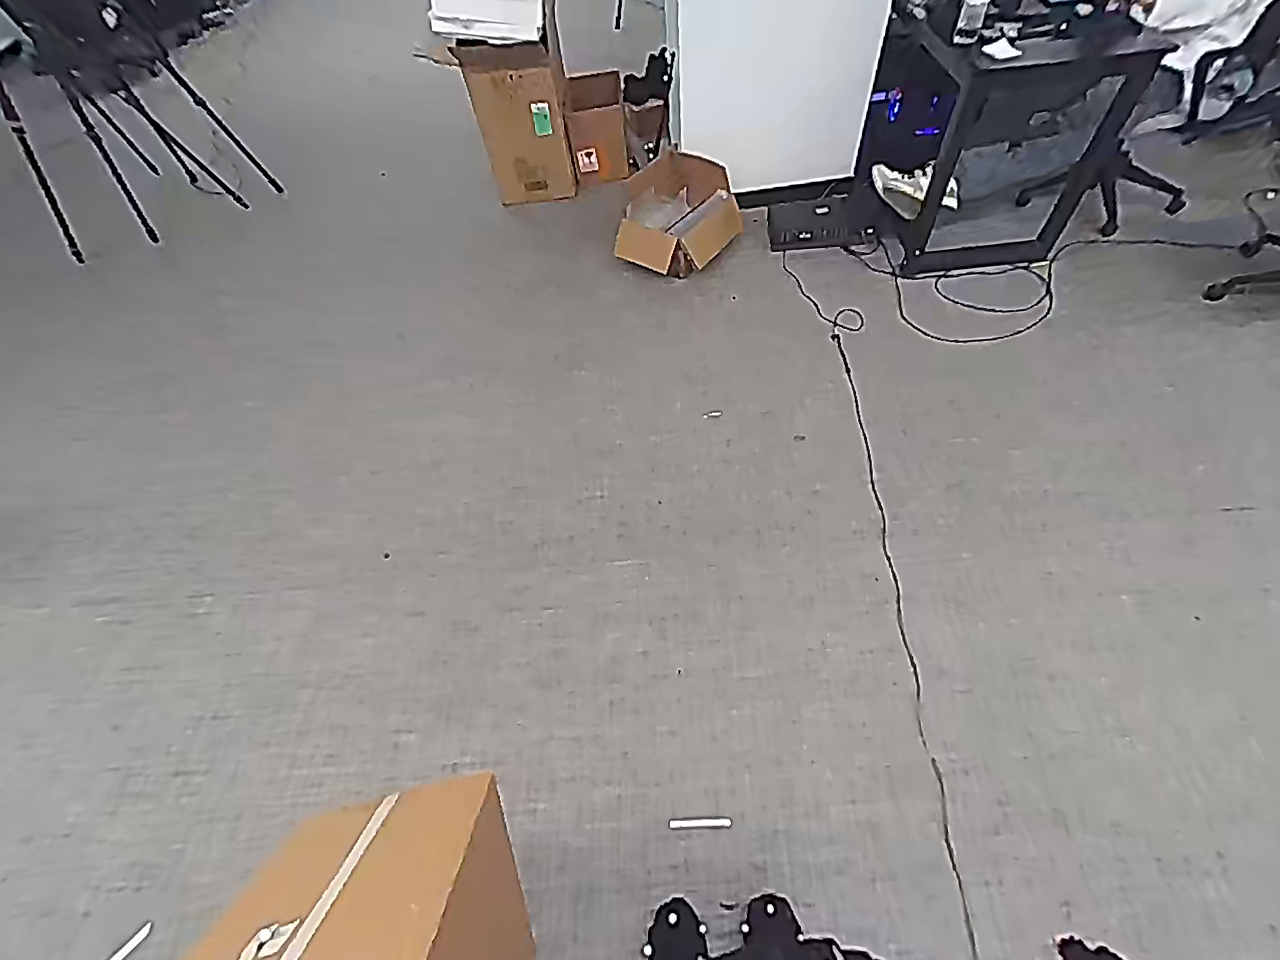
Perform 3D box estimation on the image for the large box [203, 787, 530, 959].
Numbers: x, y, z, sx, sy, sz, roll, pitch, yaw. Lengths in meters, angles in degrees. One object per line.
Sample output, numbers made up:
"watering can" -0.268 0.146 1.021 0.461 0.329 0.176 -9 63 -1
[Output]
"large box" -0.343 0.684 0.688 0.320 0.408 0.320 -14 92 -3
